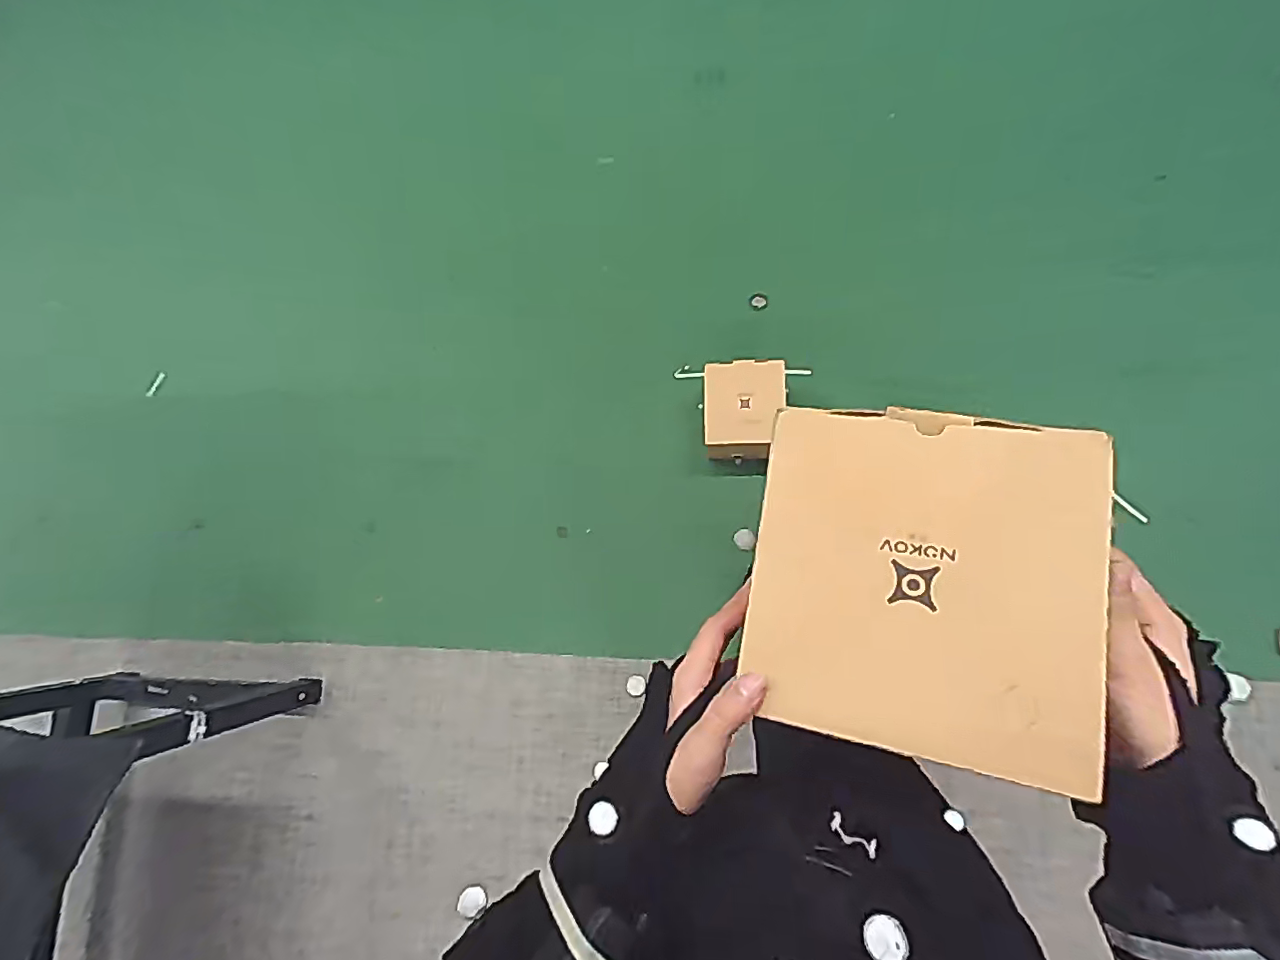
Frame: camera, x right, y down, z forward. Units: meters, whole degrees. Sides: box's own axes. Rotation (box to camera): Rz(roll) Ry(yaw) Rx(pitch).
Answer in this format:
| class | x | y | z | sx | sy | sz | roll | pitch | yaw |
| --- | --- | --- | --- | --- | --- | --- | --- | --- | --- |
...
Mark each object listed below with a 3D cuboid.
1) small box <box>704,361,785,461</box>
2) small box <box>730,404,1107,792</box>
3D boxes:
| class | x | y | z | sx | sy | sz | roll | pitch | yaw |
| --- | --- | --- | --- | --- | --- | --- | --- | --- | --- |
| small box | 0.224 | -0.144 | 1.178 | 0.168 | 0.176 | 0.179 | -1 | 81 | 9 |
| small box | 0.164 | 0.066 | 0.357 | 0.168 | 0.176 | 0.179 | 8 | 79 | 18 |
